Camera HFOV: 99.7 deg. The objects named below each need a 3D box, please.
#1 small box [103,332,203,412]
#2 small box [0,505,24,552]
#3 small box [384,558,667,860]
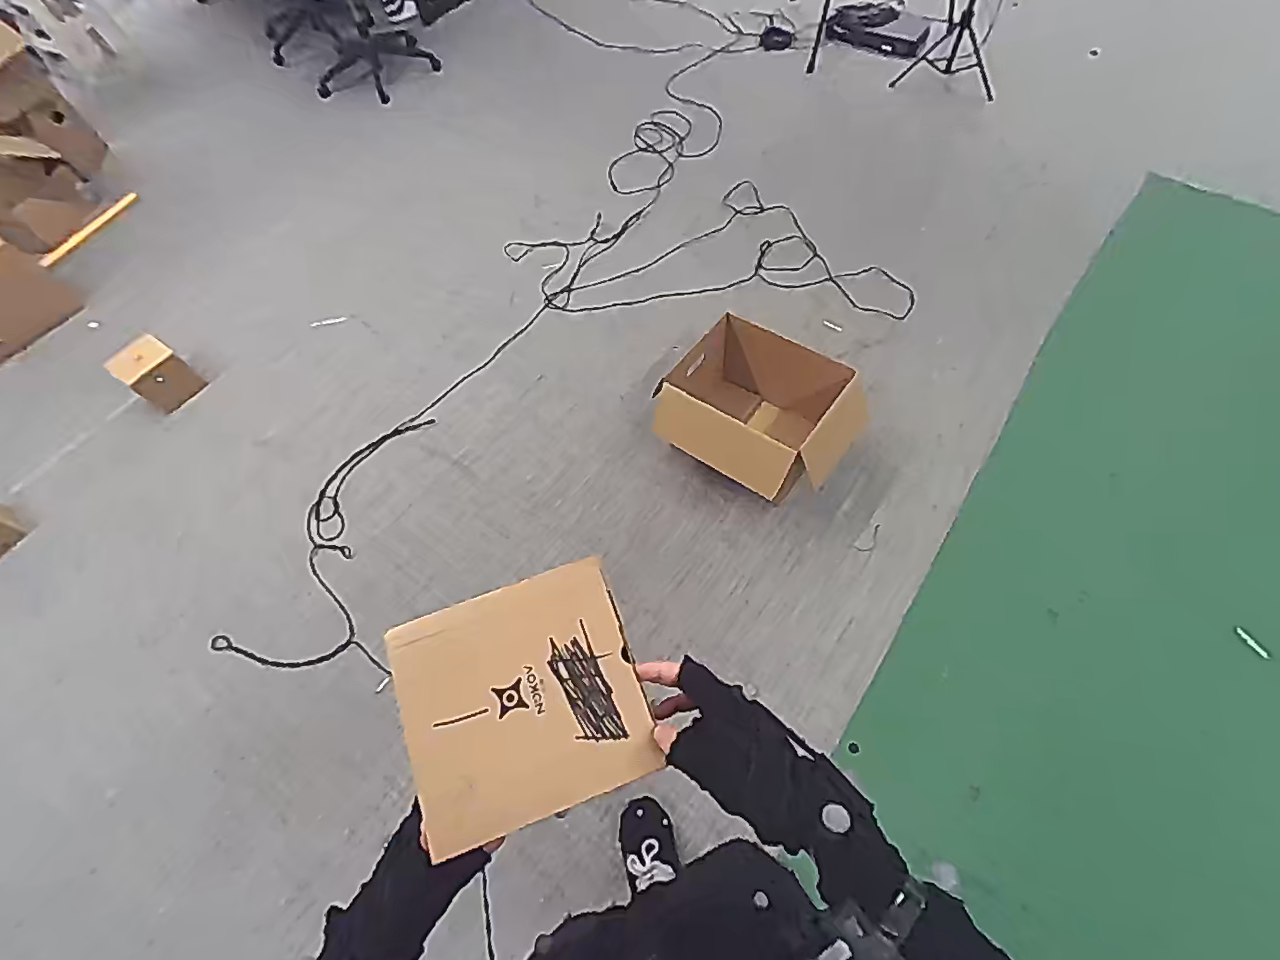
[{"bbox_3d":[-1.682,-0.372,1.884,0.168,0.176,0.179,31,69,19],"label":"small box"},{"bbox_3d":[-2.062,0.143,1.639,0.179,0.176,0.168,30,68,19],"label":"small box"},{"bbox_3d":[-0.090,0.184,0.472,0.179,0.176,0.168,-18,72,-7],"label":"small box"}]
